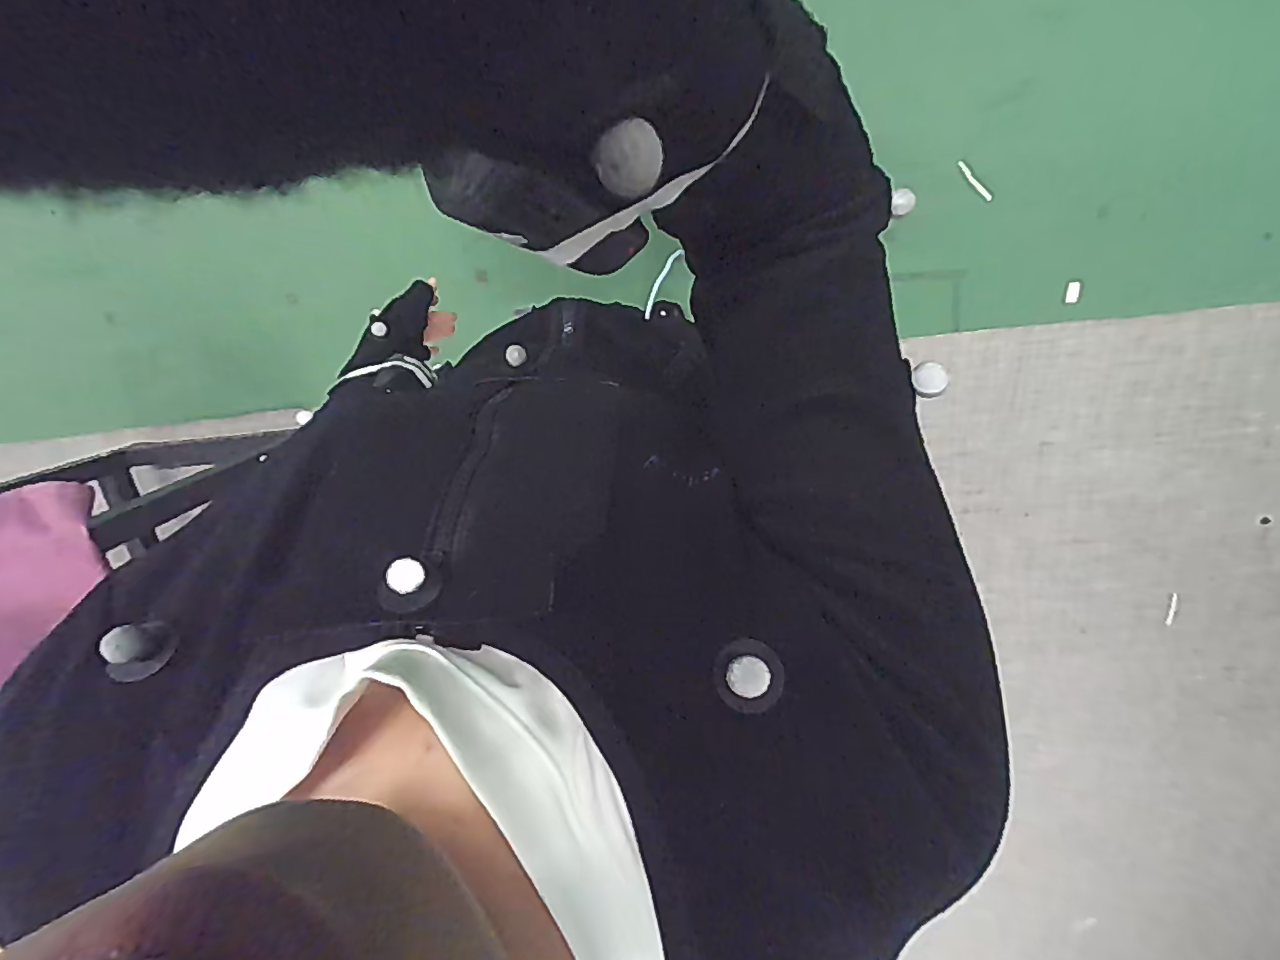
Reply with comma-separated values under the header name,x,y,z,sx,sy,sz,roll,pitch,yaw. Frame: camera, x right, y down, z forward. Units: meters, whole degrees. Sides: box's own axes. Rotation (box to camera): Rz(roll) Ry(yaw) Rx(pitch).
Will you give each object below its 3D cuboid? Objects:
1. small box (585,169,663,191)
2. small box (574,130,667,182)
name,x,y,z,sx,sy,sz,roll,pitch,yaw
small box,-0.038,-0.744,1.171,0.168,0.176,0.179,-3,109,3
small box,-0.042,-0.683,1.019,0.168,0.176,0.179,-6,110,3
